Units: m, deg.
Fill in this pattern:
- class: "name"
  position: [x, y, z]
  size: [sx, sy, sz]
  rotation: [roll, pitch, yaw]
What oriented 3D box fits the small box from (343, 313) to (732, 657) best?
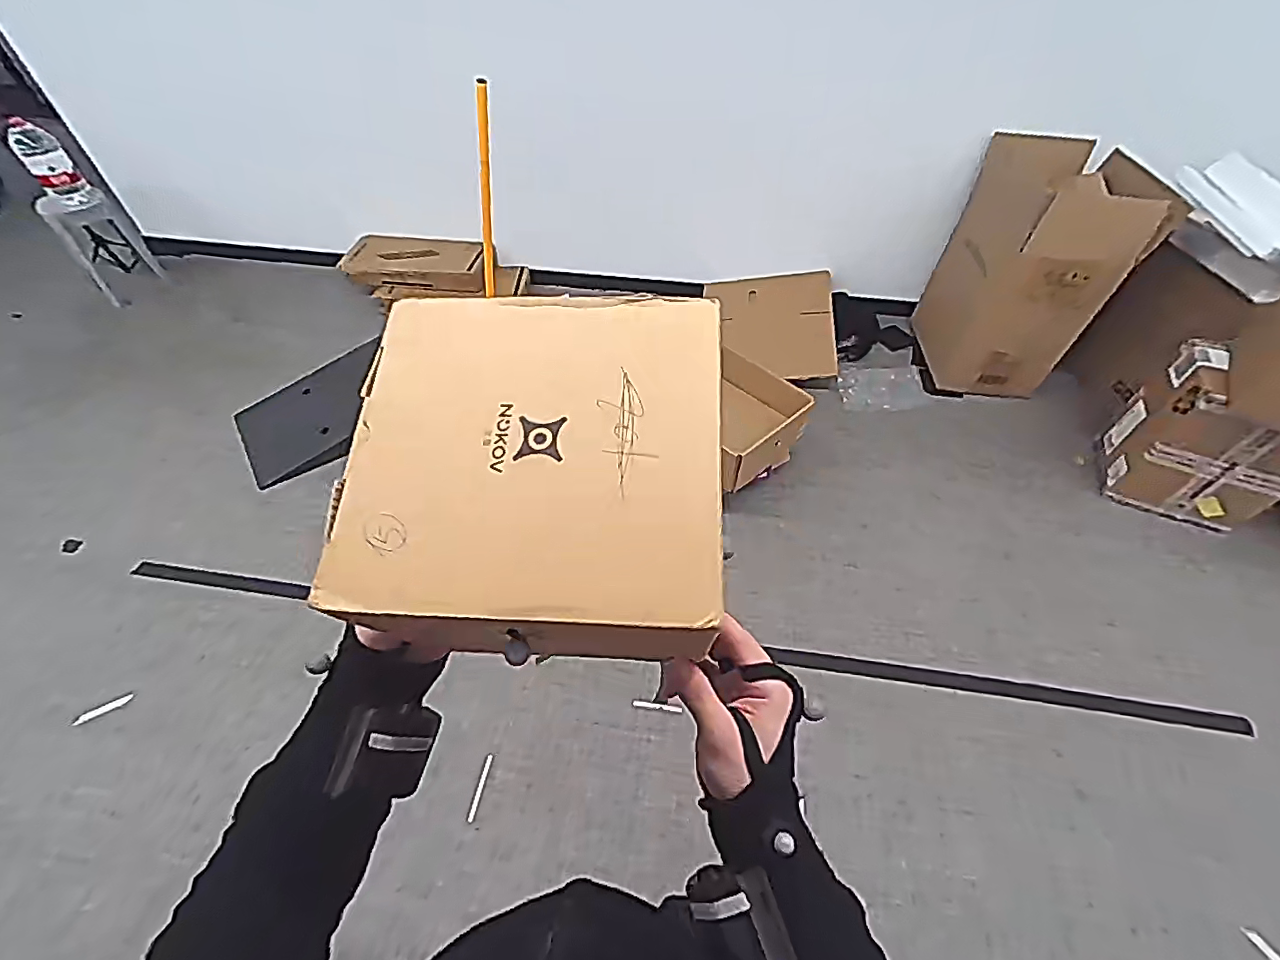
- class: "small box"
  position: [-0.040, 0.017, 0.339]
  size: [0.179, 0.176, 0.168]
  rotation: [0, 67, 3]
